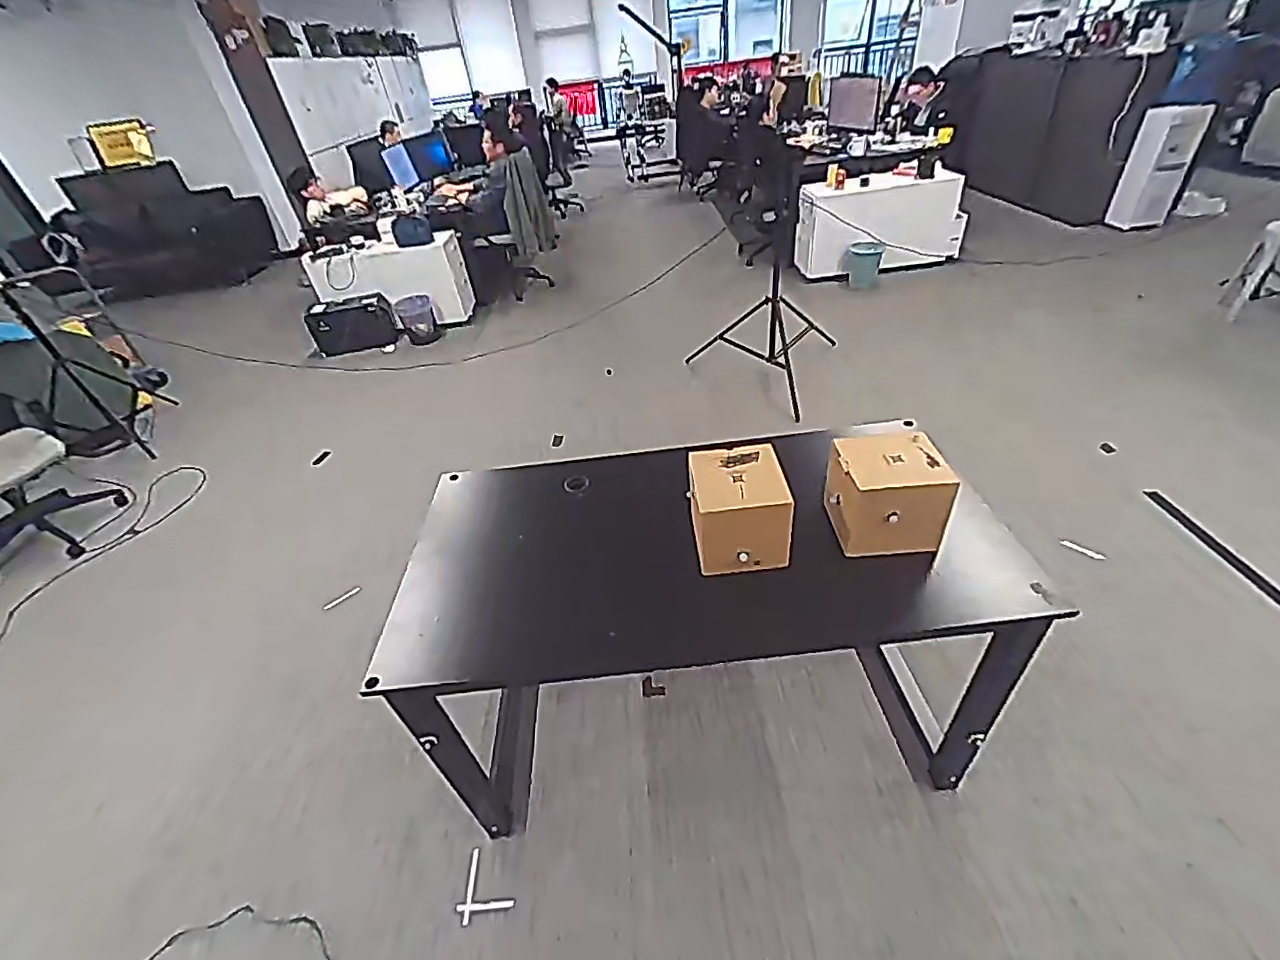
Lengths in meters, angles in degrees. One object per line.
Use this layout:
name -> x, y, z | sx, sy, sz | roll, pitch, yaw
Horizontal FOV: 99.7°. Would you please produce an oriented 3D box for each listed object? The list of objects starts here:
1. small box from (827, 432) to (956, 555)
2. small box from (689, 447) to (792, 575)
small box -> 0.467, 0.029, 1.038 | 0.179, 0.176, 0.168 | -6, 38, 5
small box -> 0.187, 0.059, 1.049 | 0.168, 0.176, 0.179 | -7, 39, 2
